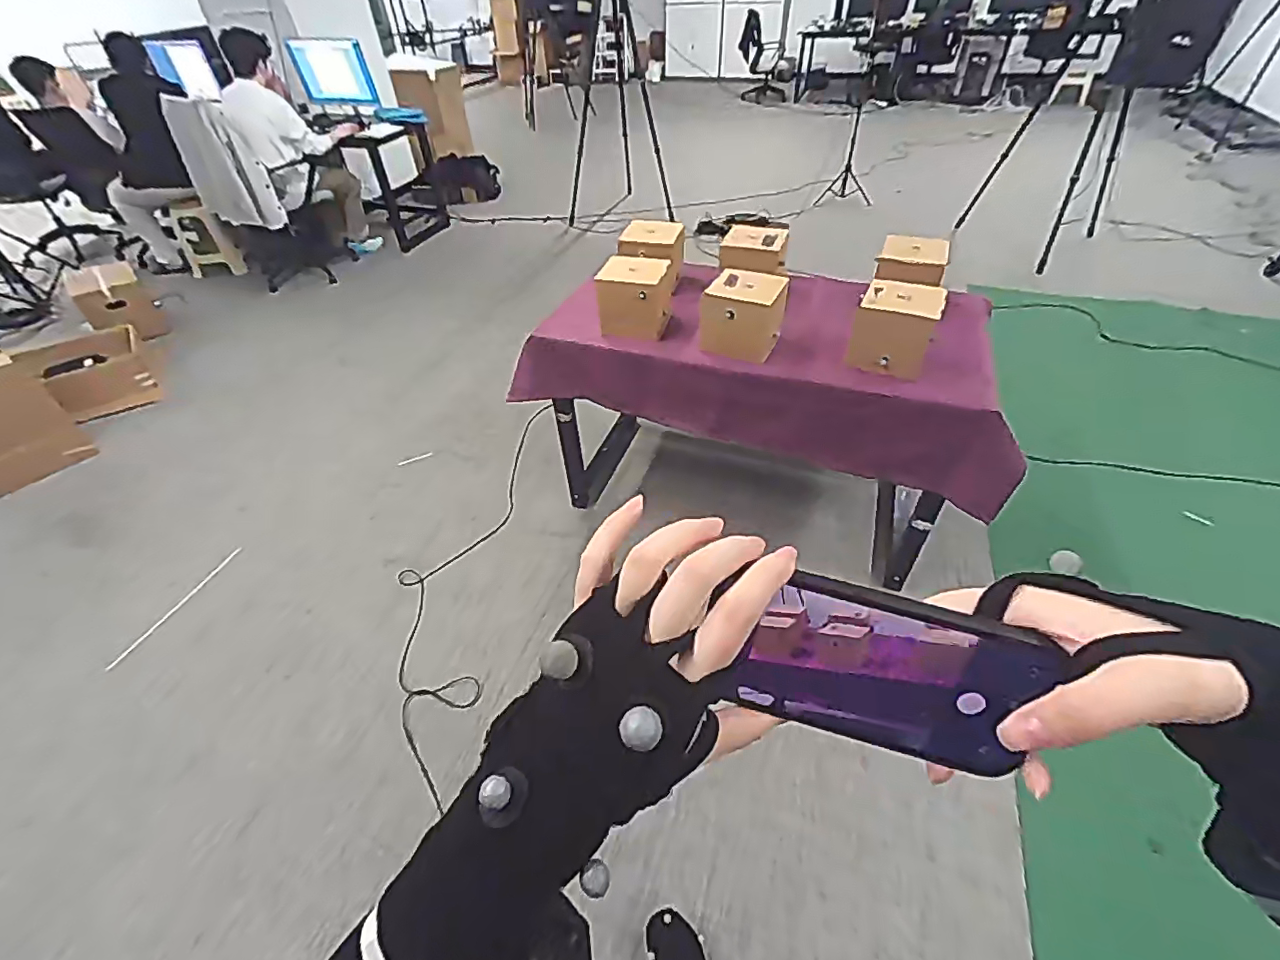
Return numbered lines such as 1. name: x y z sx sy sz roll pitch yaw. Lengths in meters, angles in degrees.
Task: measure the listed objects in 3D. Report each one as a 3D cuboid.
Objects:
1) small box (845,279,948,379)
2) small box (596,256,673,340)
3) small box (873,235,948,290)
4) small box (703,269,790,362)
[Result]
1. small box: 0.632 -0.371 1.341 0.179 0.176 0.168 19 48 21
2. small box: -0.012 -0.512 1.521 0.179 0.176 0.168 10 45 11
3. small box: 0.759 -0.574 1.543 0.168 0.176 0.179 16 48 19
4. small box: 0.275 -0.432 1.422 0.179 0.176 0.168 19 48 20
